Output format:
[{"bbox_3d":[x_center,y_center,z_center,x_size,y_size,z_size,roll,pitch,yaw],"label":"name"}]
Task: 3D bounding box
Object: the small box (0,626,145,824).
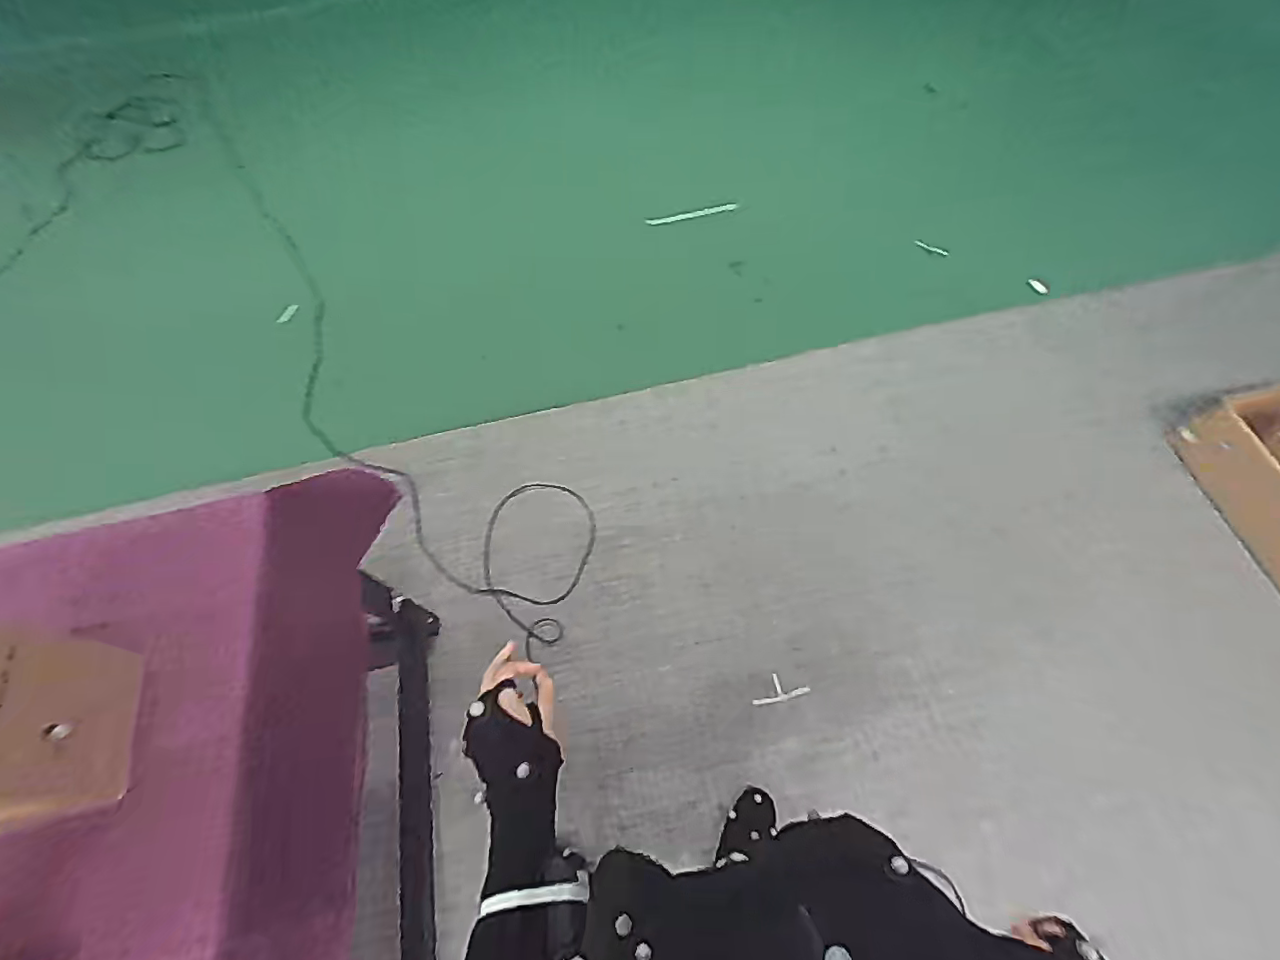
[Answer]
[{"bbox_3d":[-0.719,0.285,0.611,0.168,0.176,0.179,-15,63,-4],"label":"small box"}]
